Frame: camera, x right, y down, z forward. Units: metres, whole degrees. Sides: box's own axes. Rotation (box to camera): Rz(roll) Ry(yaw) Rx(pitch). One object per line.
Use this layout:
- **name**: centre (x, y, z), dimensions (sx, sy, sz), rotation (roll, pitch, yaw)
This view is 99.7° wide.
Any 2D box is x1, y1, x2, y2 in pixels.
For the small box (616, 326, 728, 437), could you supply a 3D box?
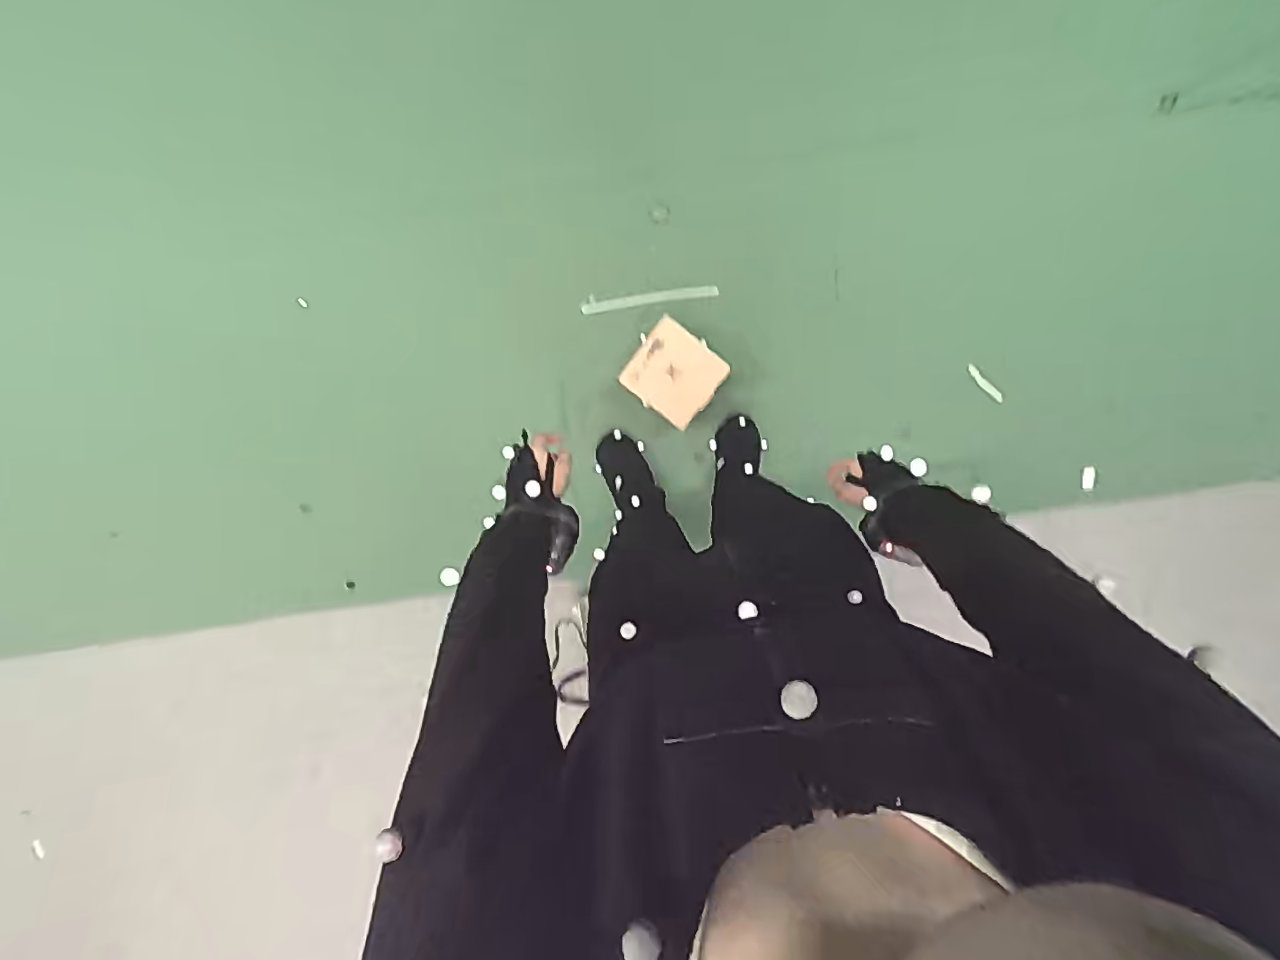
- **small box**: centre (0.065, -0.221, 1.195), dimensions (0.179, 0.176, 0.168), rotation (37, 99, -9)
